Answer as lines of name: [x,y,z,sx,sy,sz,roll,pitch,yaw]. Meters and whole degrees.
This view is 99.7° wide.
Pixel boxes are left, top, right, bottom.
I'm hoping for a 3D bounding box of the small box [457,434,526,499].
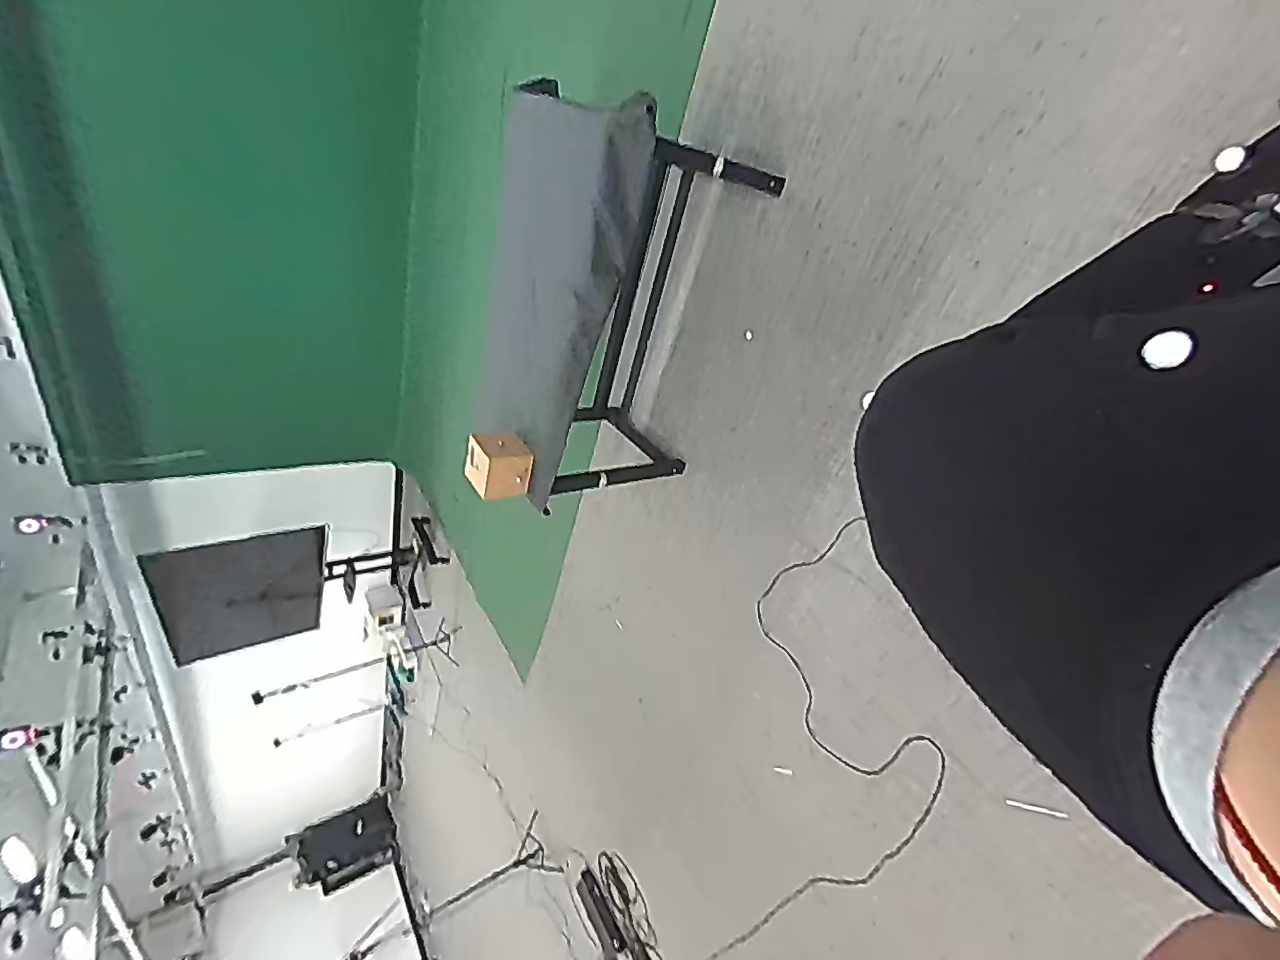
small box: [-0.525,-0.052,1.905,0.179,0.176,0.168,44,128,38]
